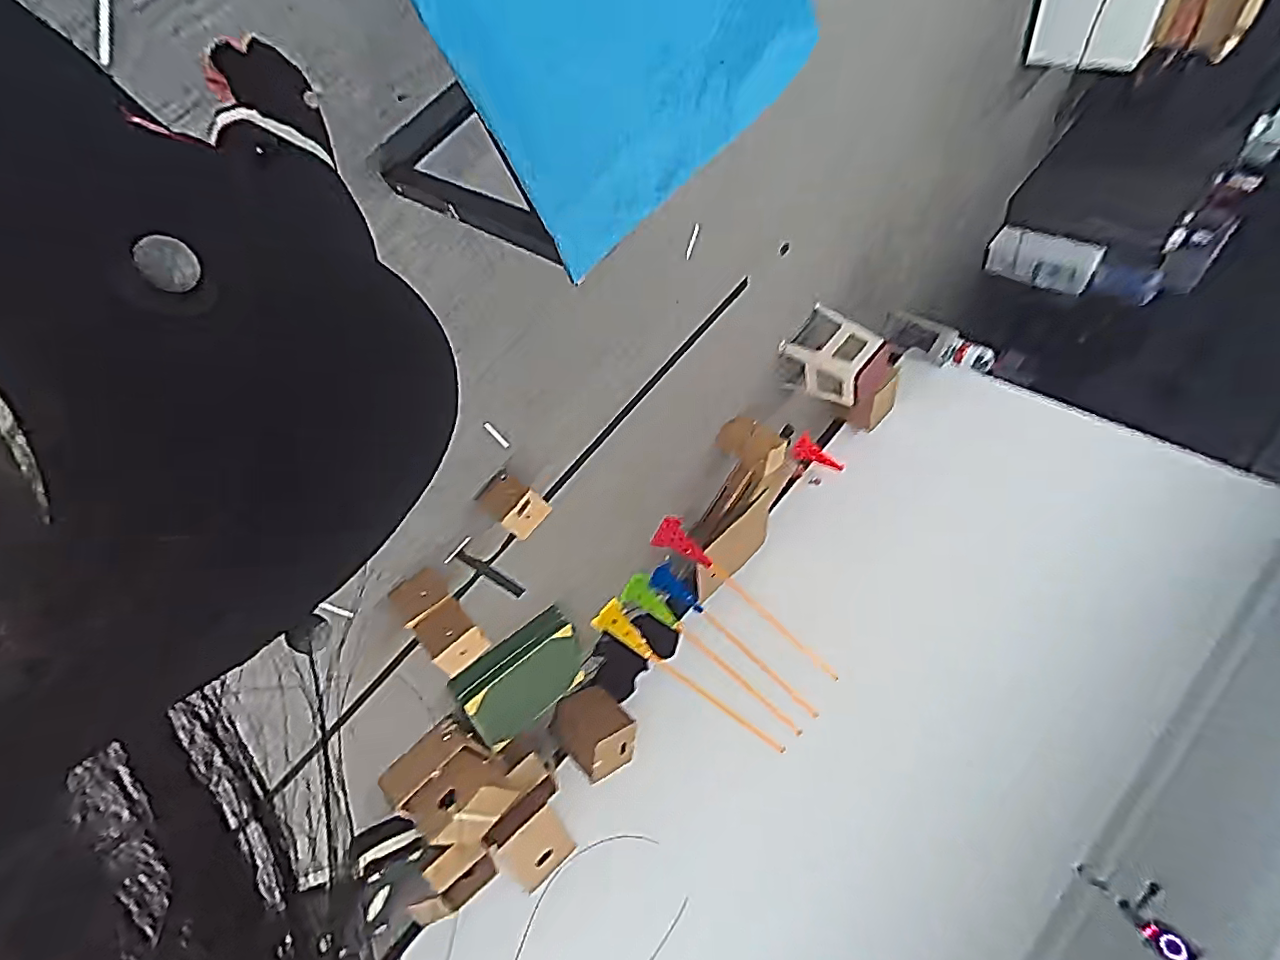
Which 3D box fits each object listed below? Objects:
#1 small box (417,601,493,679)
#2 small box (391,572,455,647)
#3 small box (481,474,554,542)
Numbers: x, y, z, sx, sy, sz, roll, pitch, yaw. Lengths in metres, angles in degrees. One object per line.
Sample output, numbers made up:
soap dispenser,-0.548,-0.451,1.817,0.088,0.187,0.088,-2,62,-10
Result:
small box,-0.666,0.569,1.942,0.179,0.176,0.168,-38,143,-20
small box,-0.787,0.475,2.010,0.179,0.176,0.168,-37,144,-22
small box,-0.469,0.101,2.060,0.168,0.176,0.179,-49,148,-9
